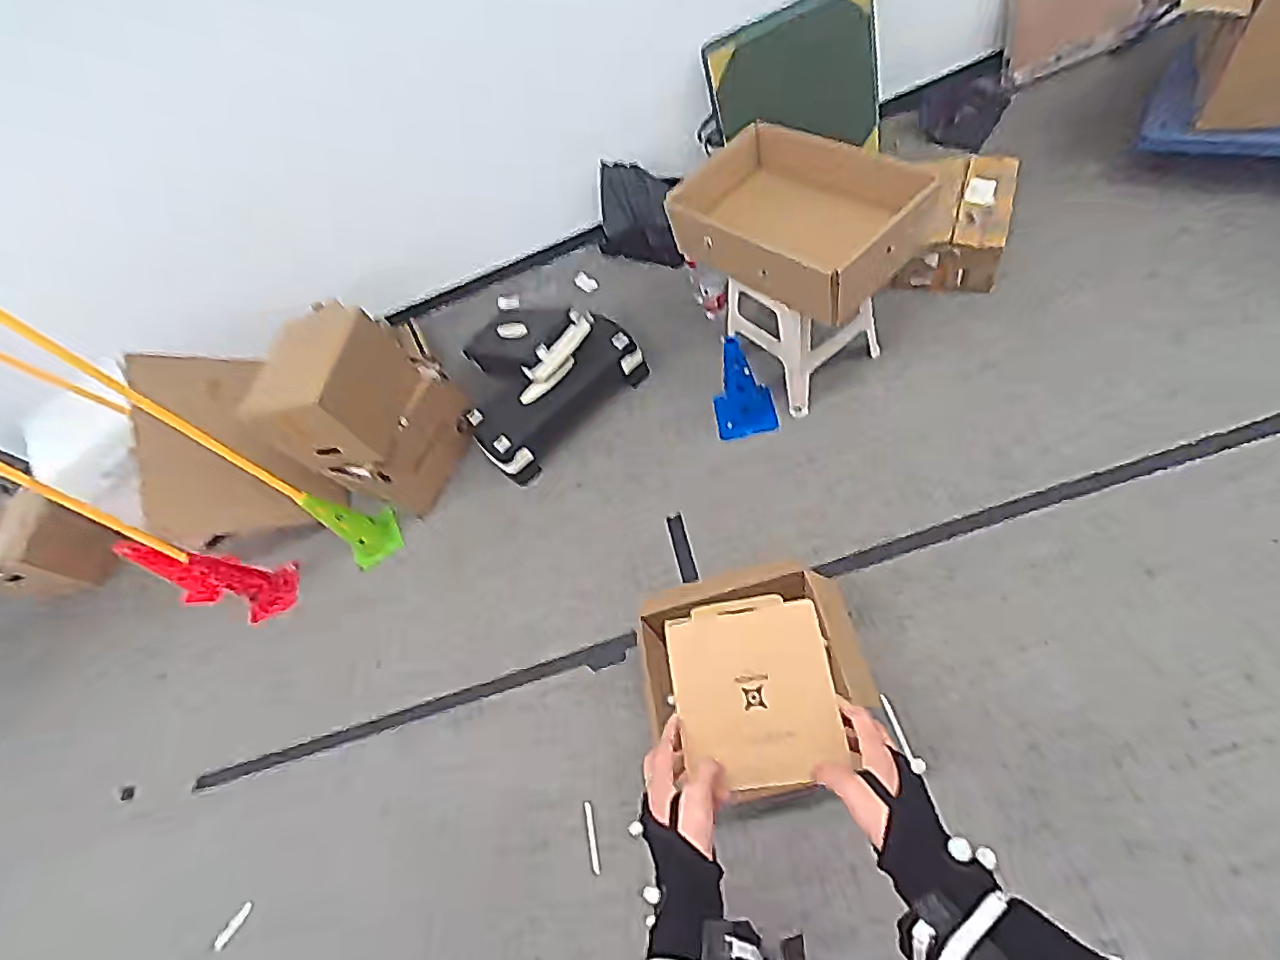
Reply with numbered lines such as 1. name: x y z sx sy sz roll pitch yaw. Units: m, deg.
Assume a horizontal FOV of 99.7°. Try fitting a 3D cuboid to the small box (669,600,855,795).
1. small box: 0.134 0.251 0.635 0.168 0.176 0.179 -11 67 8
